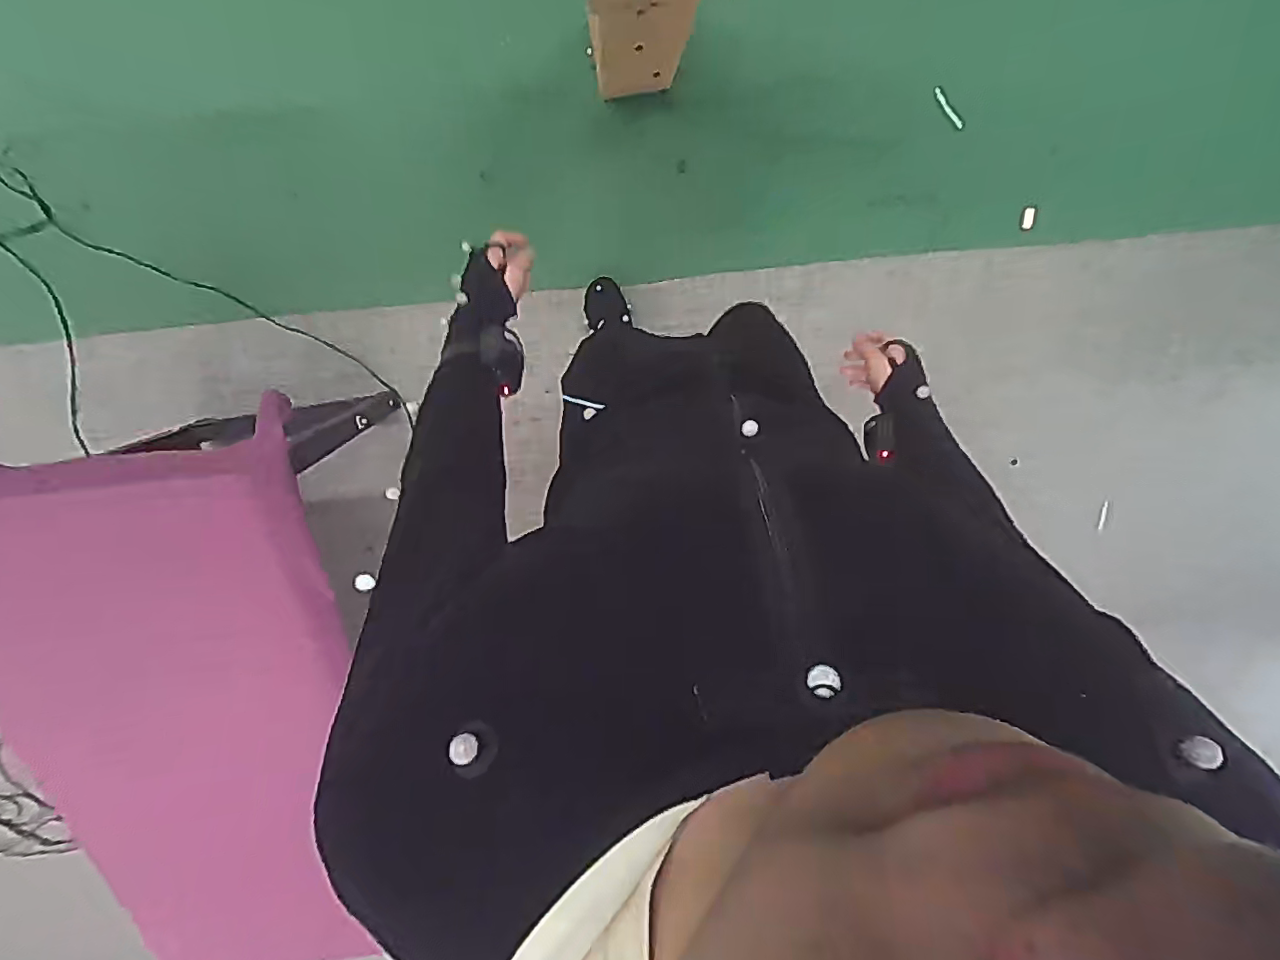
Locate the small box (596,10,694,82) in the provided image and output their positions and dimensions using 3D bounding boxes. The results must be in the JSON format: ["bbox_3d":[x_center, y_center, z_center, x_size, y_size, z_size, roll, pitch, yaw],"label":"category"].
[{"bbox_3d":[0.004,-0.926,1.077,0.179,0.176,0.168,-8,110,0],"label":"small box"}]

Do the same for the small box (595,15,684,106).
[{"bbox_3d":[-0.005,-0.980,1.229,0.179,0.176,0.168,-10,109,0],"label":"small box"}]

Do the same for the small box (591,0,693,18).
[{"bbox_3d":[0.001,-0.802,0.774,0.168,0.176,0.179,-6,111,0],"label":"small box"}]

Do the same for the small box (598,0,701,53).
[{"bbox_3d":[0.007,-0.869,0.923,0.179,0.176,0.168,-10,110,0],"label":"small box"}]
